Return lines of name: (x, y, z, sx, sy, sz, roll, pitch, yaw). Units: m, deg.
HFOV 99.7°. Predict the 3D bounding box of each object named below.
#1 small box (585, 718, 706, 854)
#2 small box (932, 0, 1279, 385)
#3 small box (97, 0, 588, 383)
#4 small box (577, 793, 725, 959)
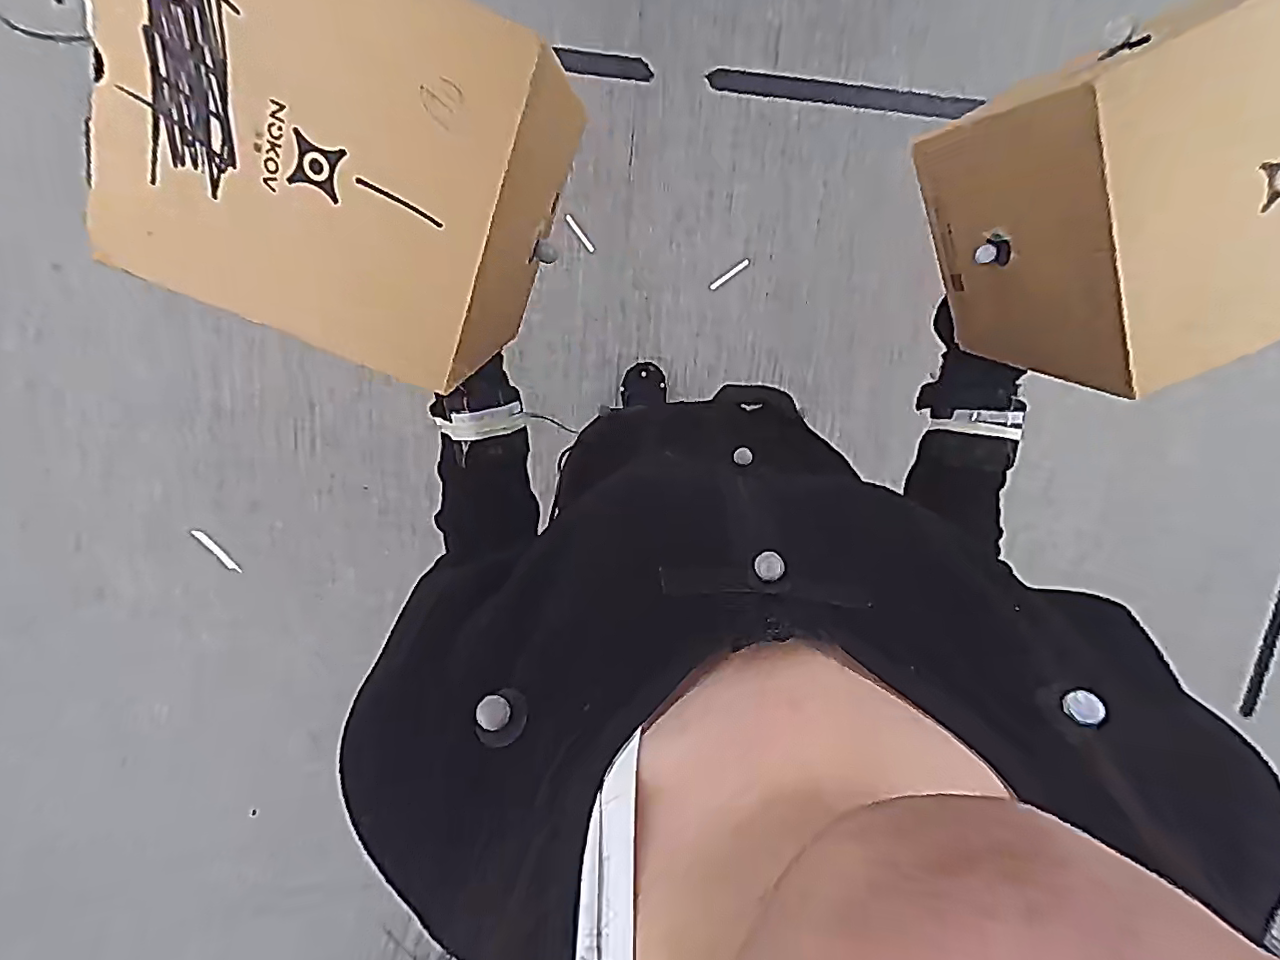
small box: (0.001, 0.514, 0.873, 0.168, 0.176, 0.179, 7, 102, -4)
small box: (0.309, -0.182, 0.331, 0.179, 0.176, 0.168, -25, 112, 8)
small box: (-0.143, -0.180, 0.310, 0.179, 0.176, 0.168, 21, 114, -9)
small box: (0.006, 0.551, 0.715, 0.168, 0.176, 0.179, 6, 103, -2)
